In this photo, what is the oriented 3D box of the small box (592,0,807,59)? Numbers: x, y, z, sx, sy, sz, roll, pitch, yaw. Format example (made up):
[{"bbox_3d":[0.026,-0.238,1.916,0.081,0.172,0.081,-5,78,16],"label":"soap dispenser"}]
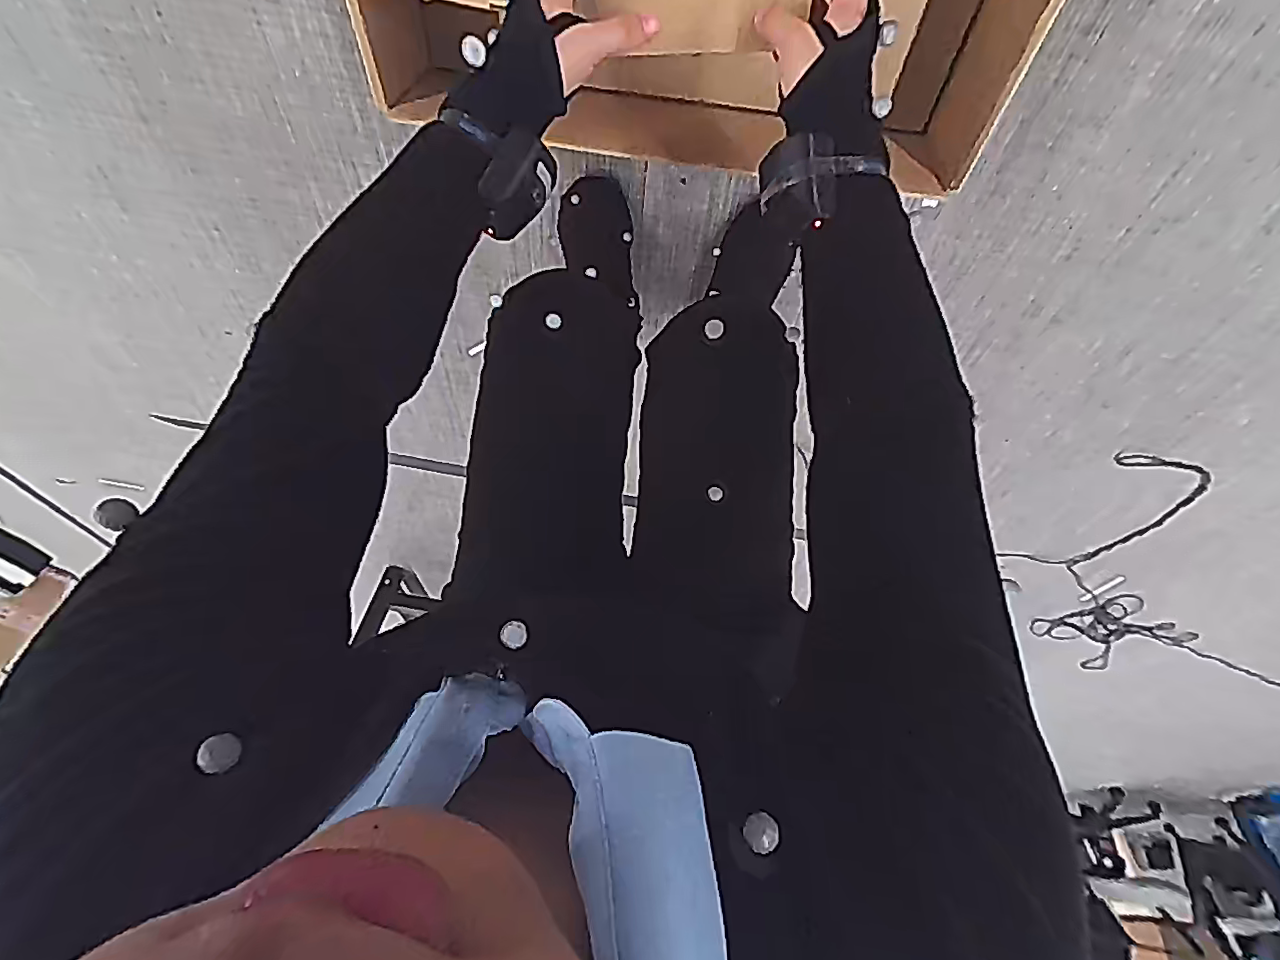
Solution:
[{"bbox_3d":[0.052,-0.457,0.423,0.168,0.176,0.179,3,137,5],"label":"small box"}]
